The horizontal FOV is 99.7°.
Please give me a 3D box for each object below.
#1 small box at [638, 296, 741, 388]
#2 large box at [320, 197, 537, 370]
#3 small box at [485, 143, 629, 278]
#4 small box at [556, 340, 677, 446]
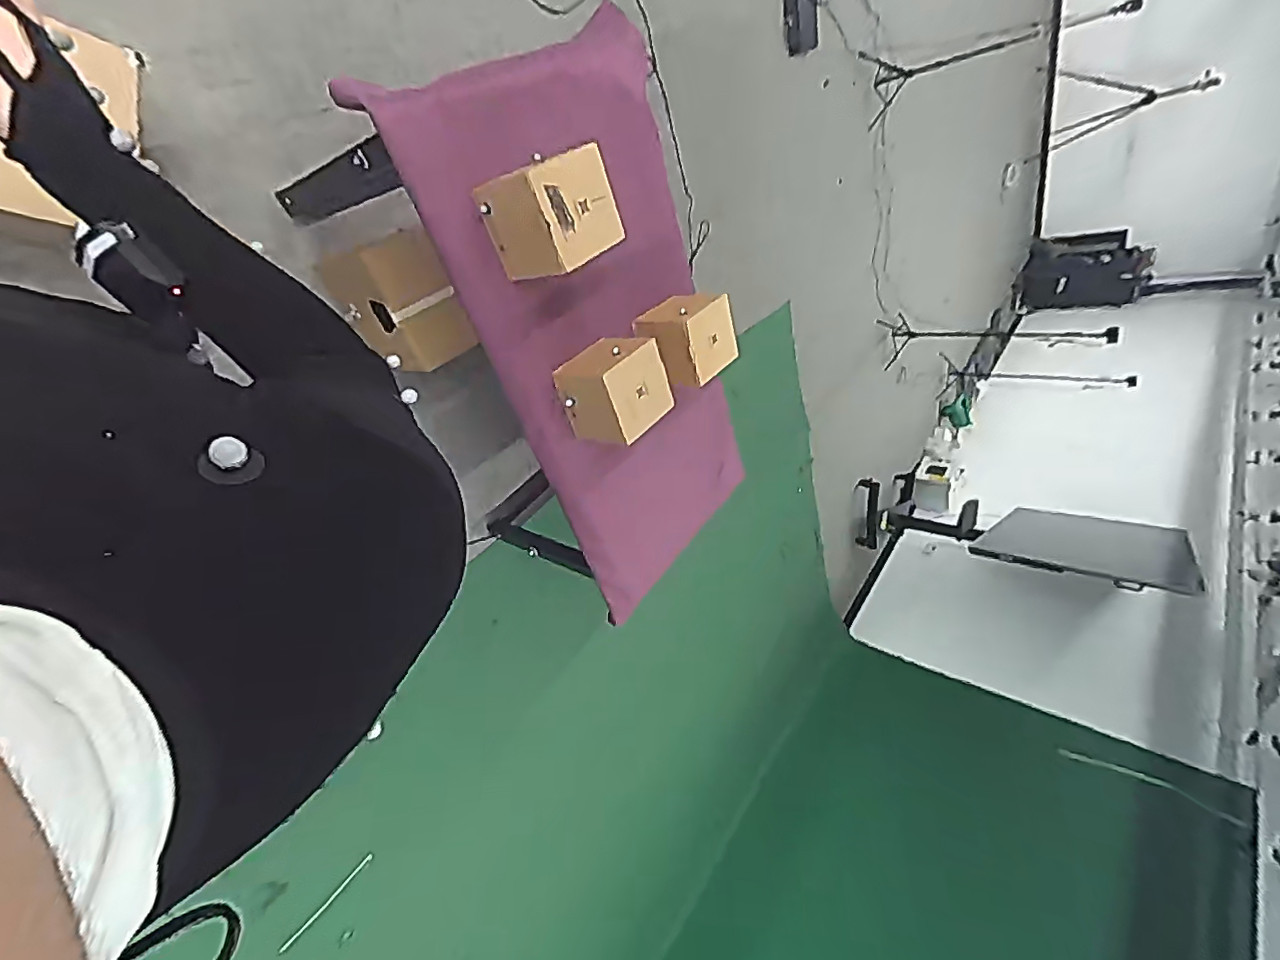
[{"bbox_3d":[0.123,-0.345,1.332,0.179,0.176,0.168,-41,128,-32],"label":"small box"},{"bbox_3d":[-0.576,-0.541,1.508,0.408,0.320,0.320,-44,130,-32],"label":"large box"},{"bbox_3d":[-0.155,-0.482,0.983,0.179,0.176,0.168,-46,131,-32],"label":"small box"},{"bbox_3d":[-0.050,-0.196,1.179,0.179,0.176,0.168,-43,128,-33],"label":"small box"}]
